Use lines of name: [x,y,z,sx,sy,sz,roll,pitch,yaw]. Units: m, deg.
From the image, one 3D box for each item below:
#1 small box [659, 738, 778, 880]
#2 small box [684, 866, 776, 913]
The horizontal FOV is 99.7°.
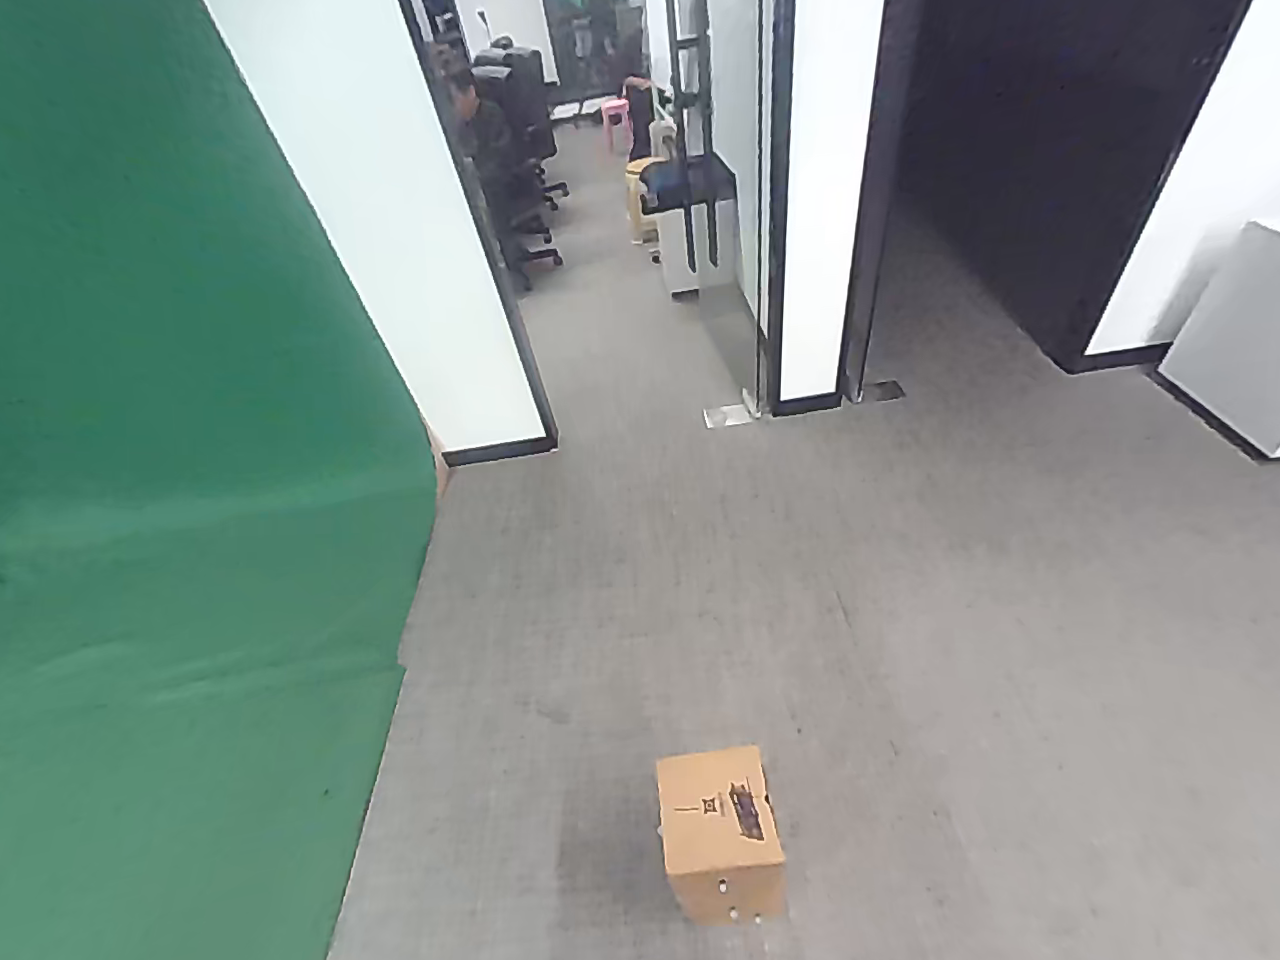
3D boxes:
small box: [0.128,0.555,0.911,0.179,0.176,0.168,-6,42,5]
small box: [0.181,0.790,1.138,0.179,0.176,0.168,-10,43,4]
